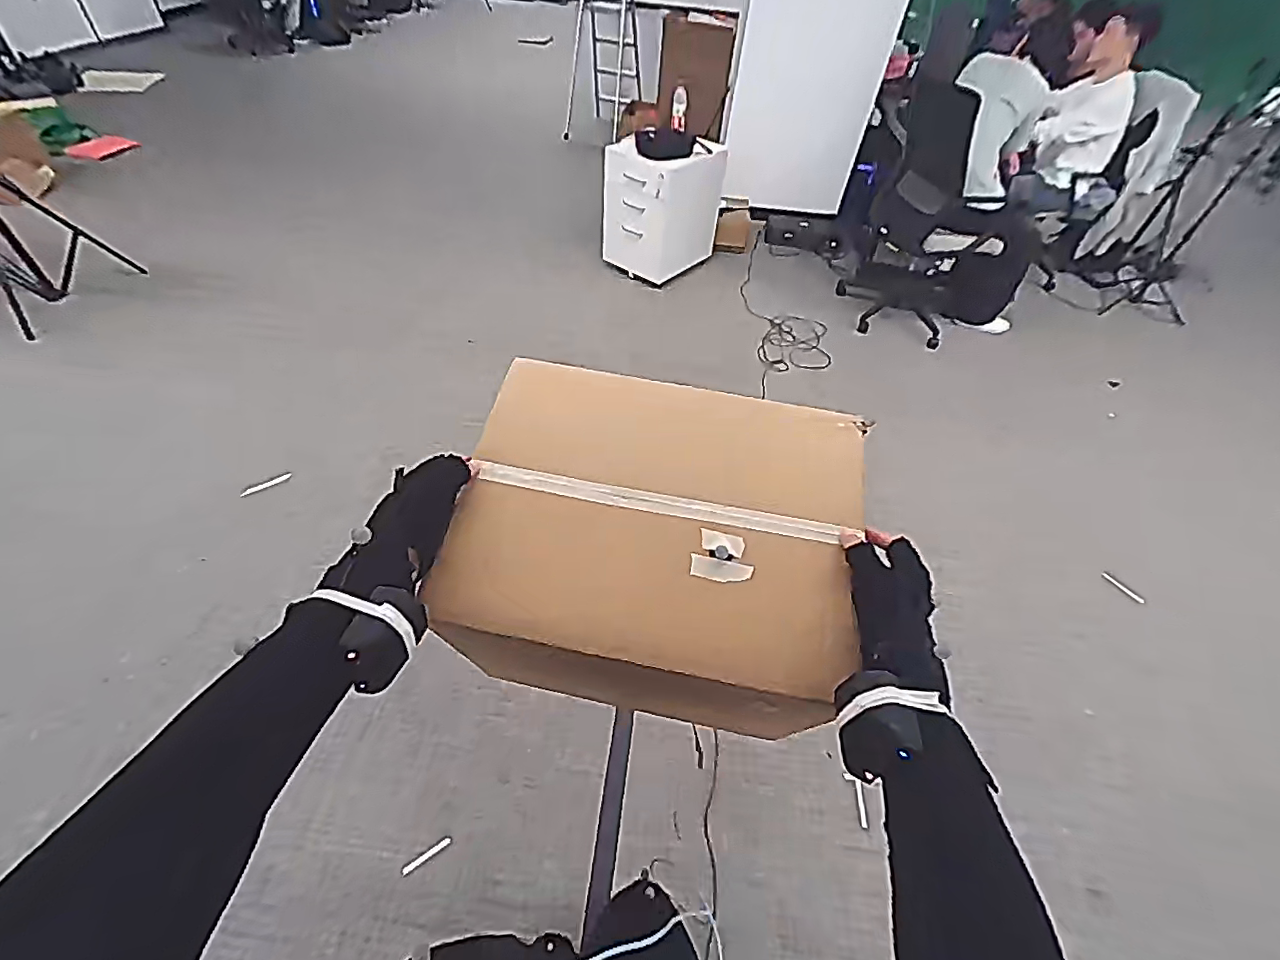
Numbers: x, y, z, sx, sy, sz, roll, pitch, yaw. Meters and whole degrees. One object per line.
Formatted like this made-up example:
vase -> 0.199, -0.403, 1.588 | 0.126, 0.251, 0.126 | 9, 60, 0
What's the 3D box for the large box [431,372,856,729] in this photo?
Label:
large box -> 0.017, 0.104, 0.694 | 0.408, 0.320, 0.320 | 11, 61, 4
